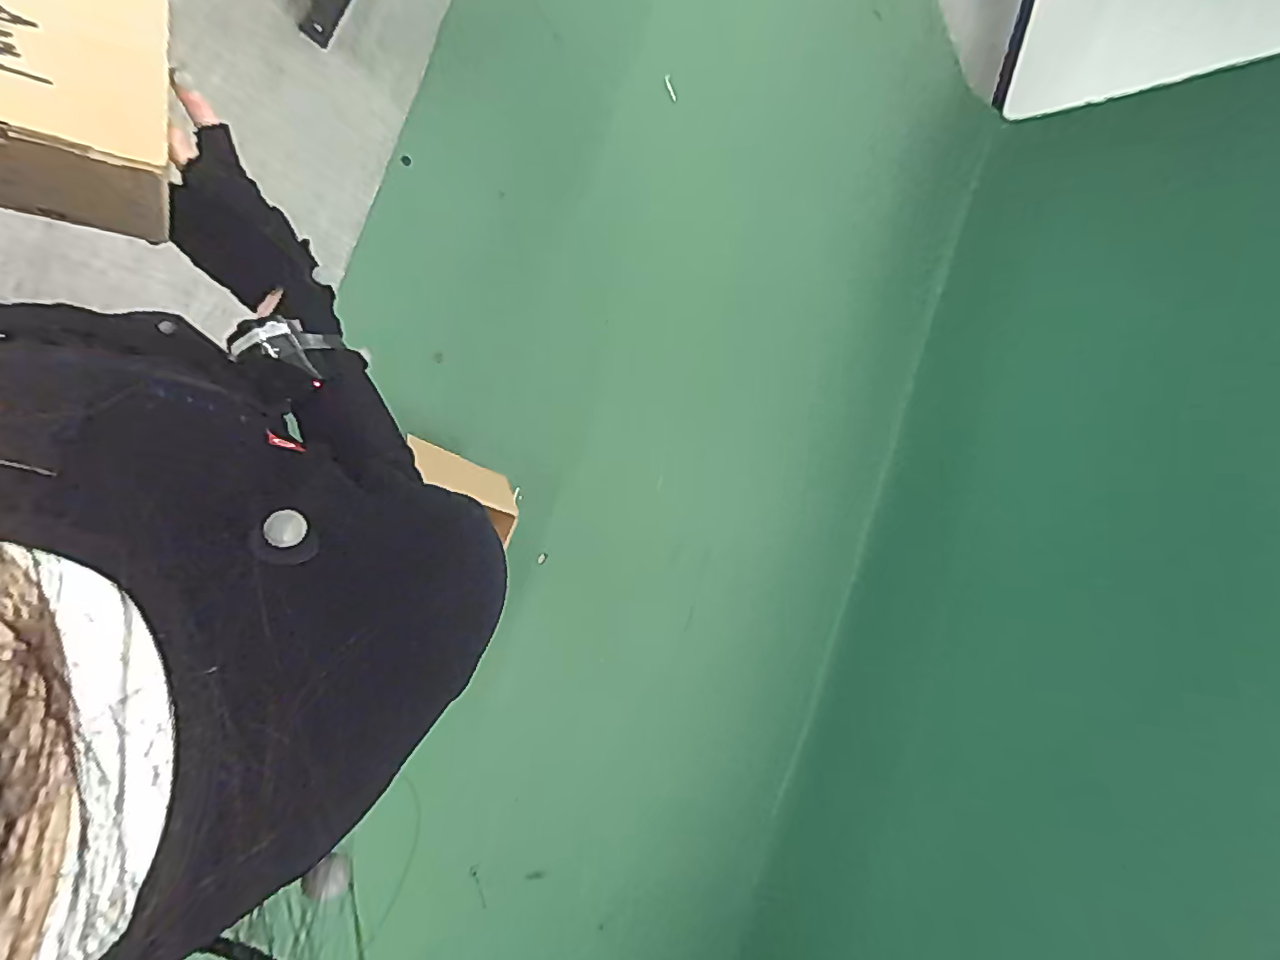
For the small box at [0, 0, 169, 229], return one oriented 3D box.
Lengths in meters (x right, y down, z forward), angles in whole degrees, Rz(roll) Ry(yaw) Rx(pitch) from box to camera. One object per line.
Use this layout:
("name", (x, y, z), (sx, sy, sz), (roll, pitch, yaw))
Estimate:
("small box", (-0.382, -0.269, 0.311), (0.168, 0.176, 0.179), (-1, 96, -42))
